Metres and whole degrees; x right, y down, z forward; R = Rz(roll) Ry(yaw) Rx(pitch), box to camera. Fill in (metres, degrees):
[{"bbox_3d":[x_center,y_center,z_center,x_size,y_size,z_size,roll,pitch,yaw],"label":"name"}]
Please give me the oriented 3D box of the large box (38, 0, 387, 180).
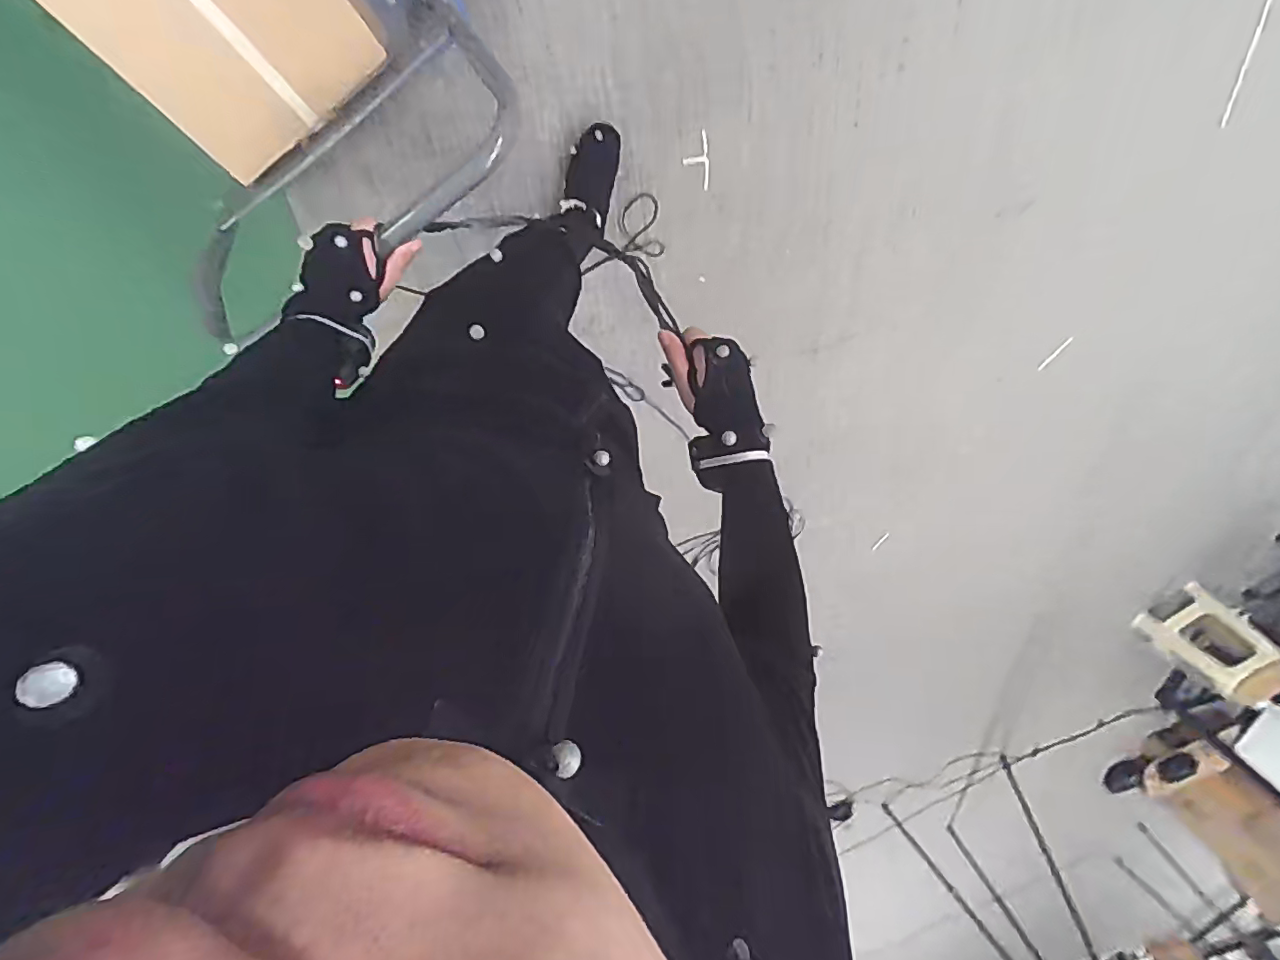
[{"bbox_3d":[-0.643,-0.753,0.794,0.320,0.320,0.408,-34,137,9],"label":"large box"}]
